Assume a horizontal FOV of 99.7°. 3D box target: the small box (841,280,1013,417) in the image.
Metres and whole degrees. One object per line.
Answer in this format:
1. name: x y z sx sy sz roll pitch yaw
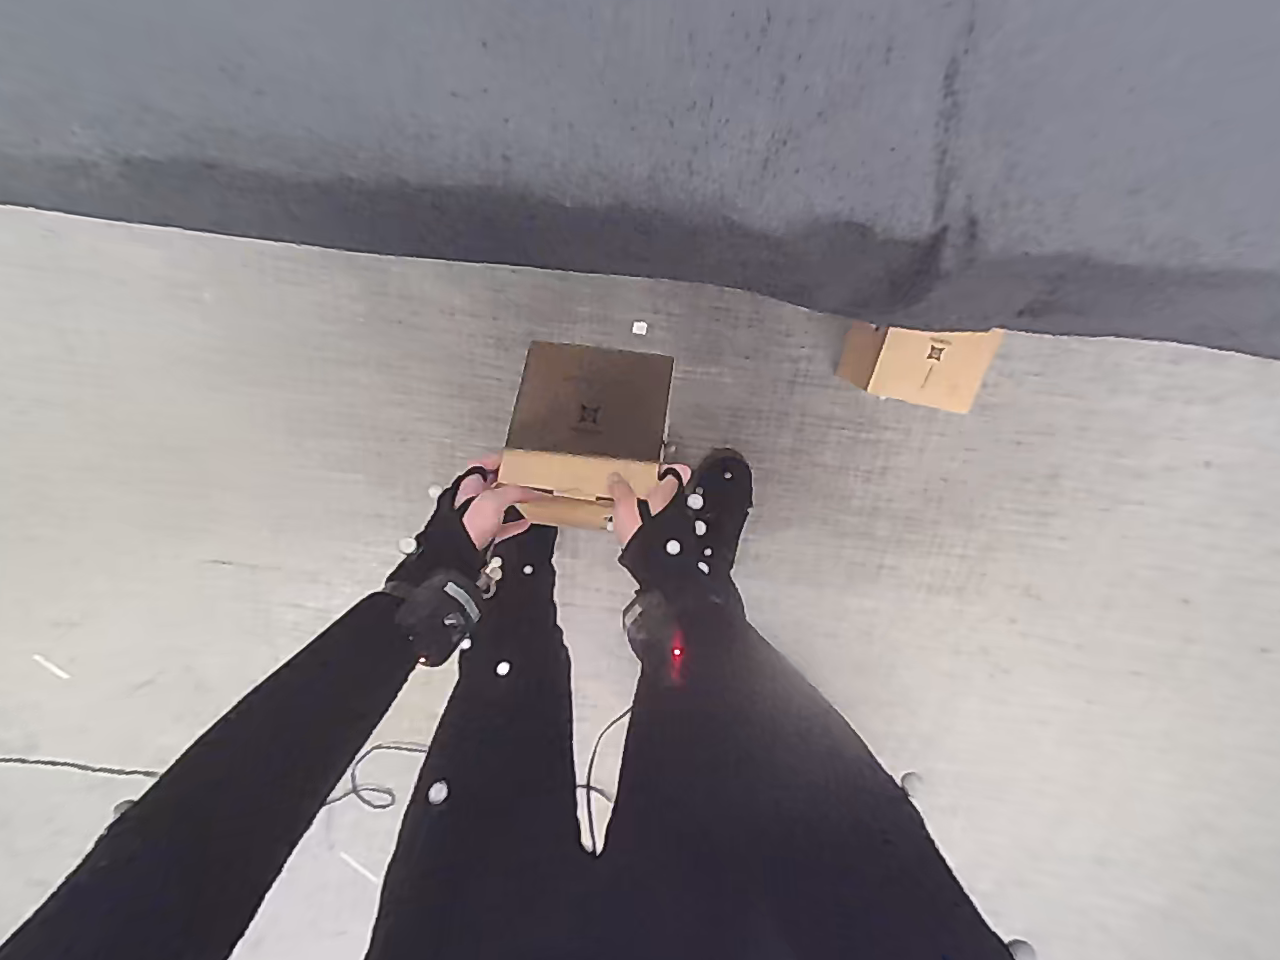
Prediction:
1. small box: 0.449 -0.218 0.881 0.168 0.176 0.179 12 109 0
